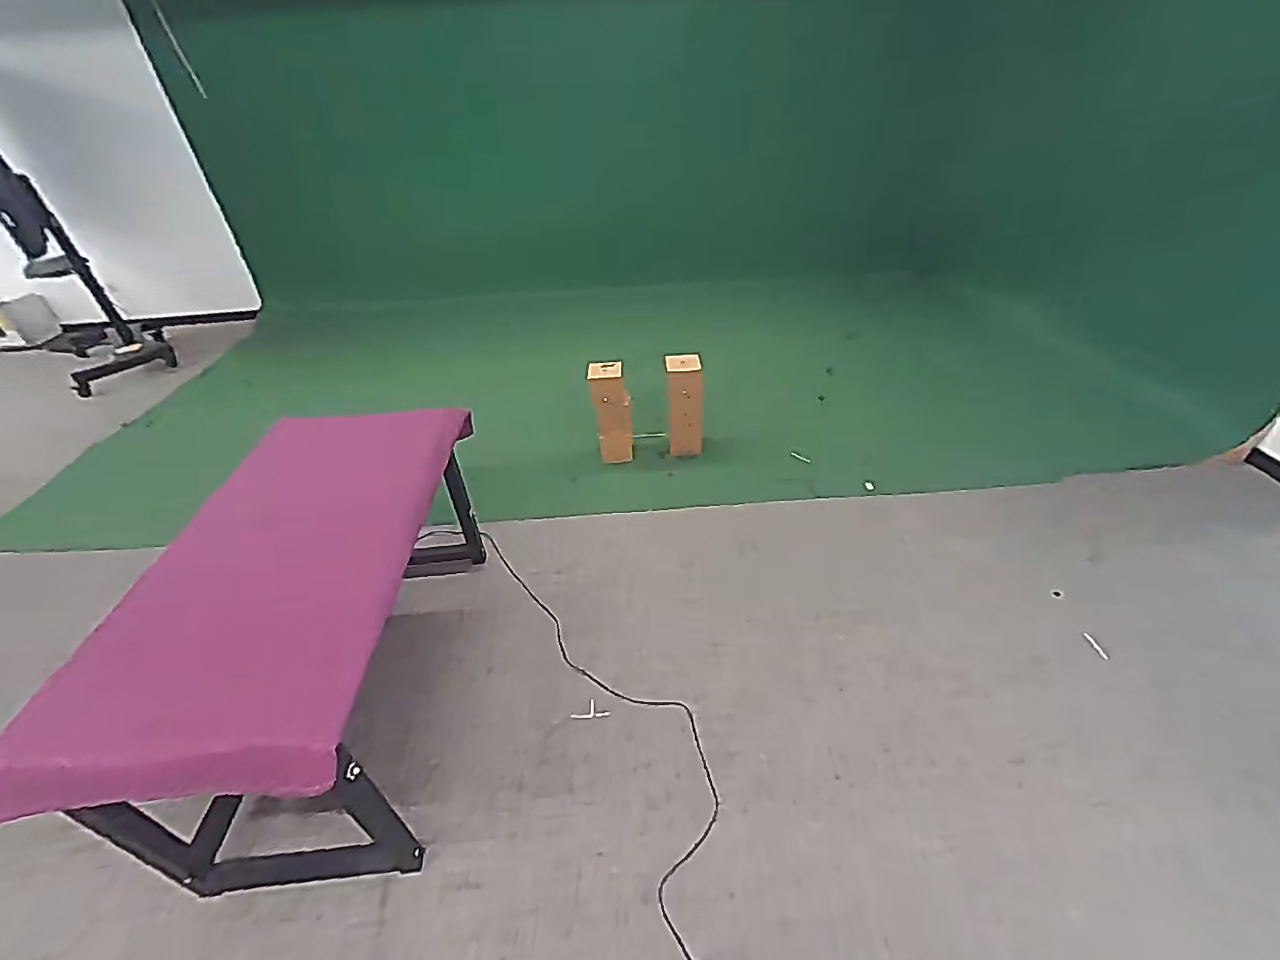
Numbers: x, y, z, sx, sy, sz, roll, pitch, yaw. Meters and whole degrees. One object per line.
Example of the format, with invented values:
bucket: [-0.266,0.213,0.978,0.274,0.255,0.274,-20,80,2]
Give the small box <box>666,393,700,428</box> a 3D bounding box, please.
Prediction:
small box: [0.223,-0.382,2.809,0.168,0.176,0.179,-3,39,0]

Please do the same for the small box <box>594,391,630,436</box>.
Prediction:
small box: [-0.144,-0.344,2.798,0.179,0.176,0.168,-6,36,-2]

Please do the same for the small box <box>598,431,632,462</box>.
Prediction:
small box: [-0.134,-0.206,2.883,0.168,0.176,0.179,-6,37,-2]

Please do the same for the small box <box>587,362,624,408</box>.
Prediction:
small box: [-0.170,-0.474,2.700,0.168,0.176,0.179,-4,36,1]

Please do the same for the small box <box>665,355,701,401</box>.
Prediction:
small box: [0.212,-0.512,2.710,0.168,0.176,0.179,-3,38,1]
